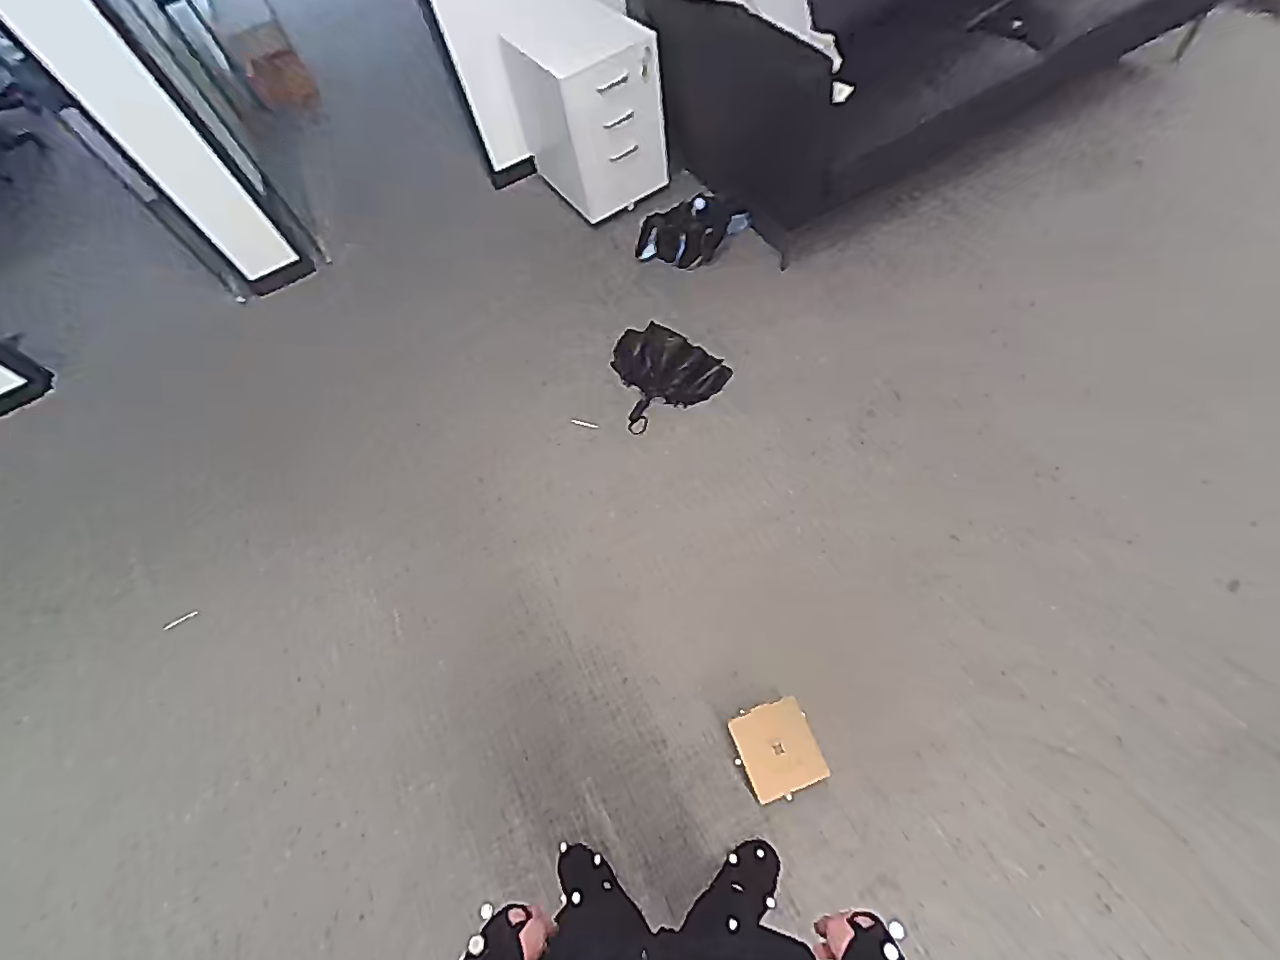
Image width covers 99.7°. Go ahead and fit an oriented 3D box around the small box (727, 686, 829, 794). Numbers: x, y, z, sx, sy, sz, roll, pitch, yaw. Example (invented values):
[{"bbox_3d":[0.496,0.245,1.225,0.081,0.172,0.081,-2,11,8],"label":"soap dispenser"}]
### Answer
[{"bbox_3d":[0.310,0.604,1.255,0.168,0.176,0.179,-22,62,-2],"label":"small box"}]
